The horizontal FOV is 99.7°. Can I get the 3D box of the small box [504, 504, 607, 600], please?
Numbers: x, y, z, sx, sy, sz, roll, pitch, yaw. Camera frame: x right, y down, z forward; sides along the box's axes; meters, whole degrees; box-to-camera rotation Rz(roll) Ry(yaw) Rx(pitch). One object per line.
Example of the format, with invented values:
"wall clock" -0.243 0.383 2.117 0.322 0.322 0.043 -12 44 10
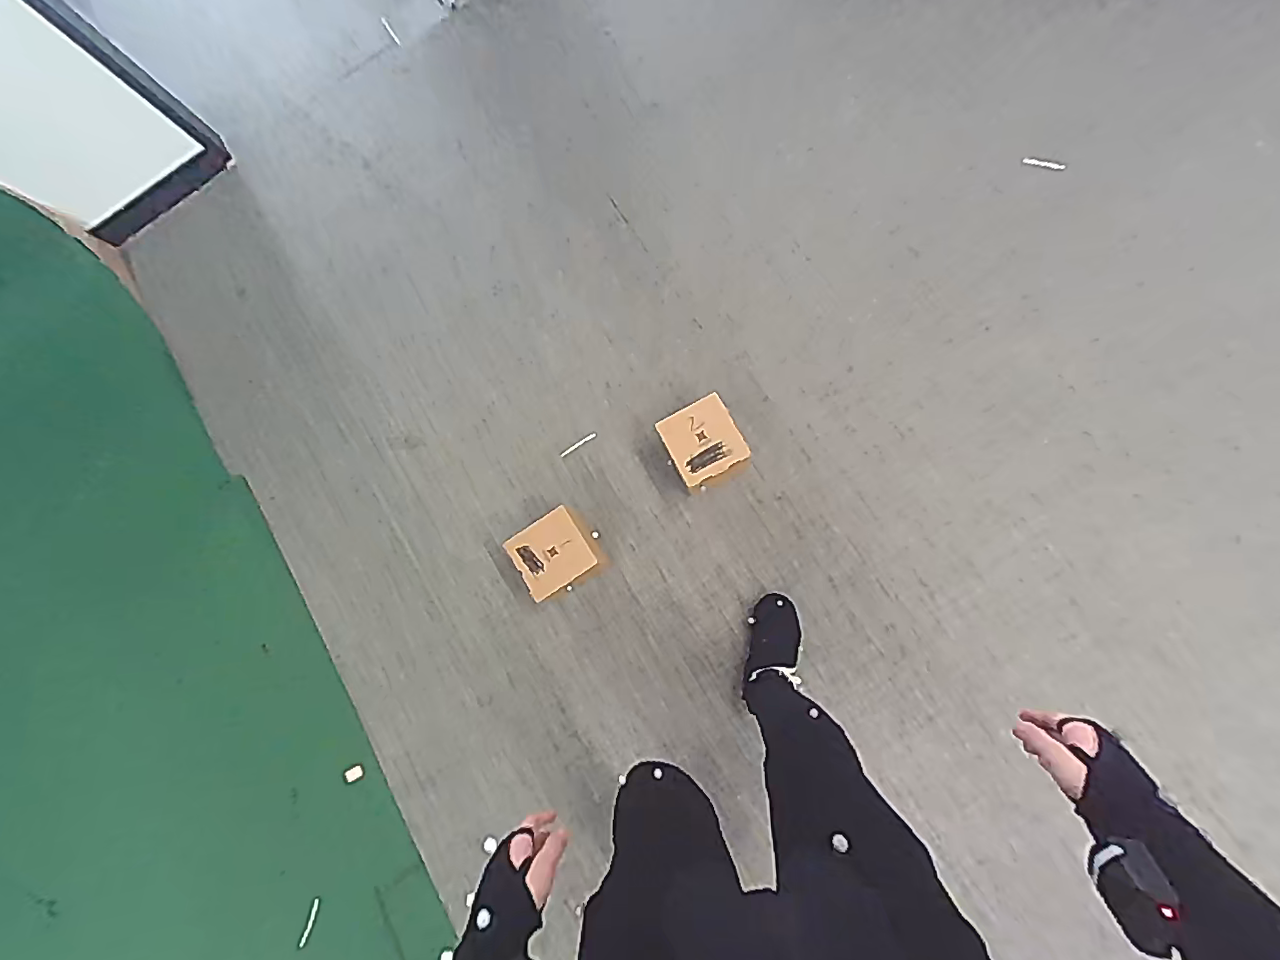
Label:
"small box" -0.202 0.181 1.344 0.179 0.176 0.168 -33 79 0
